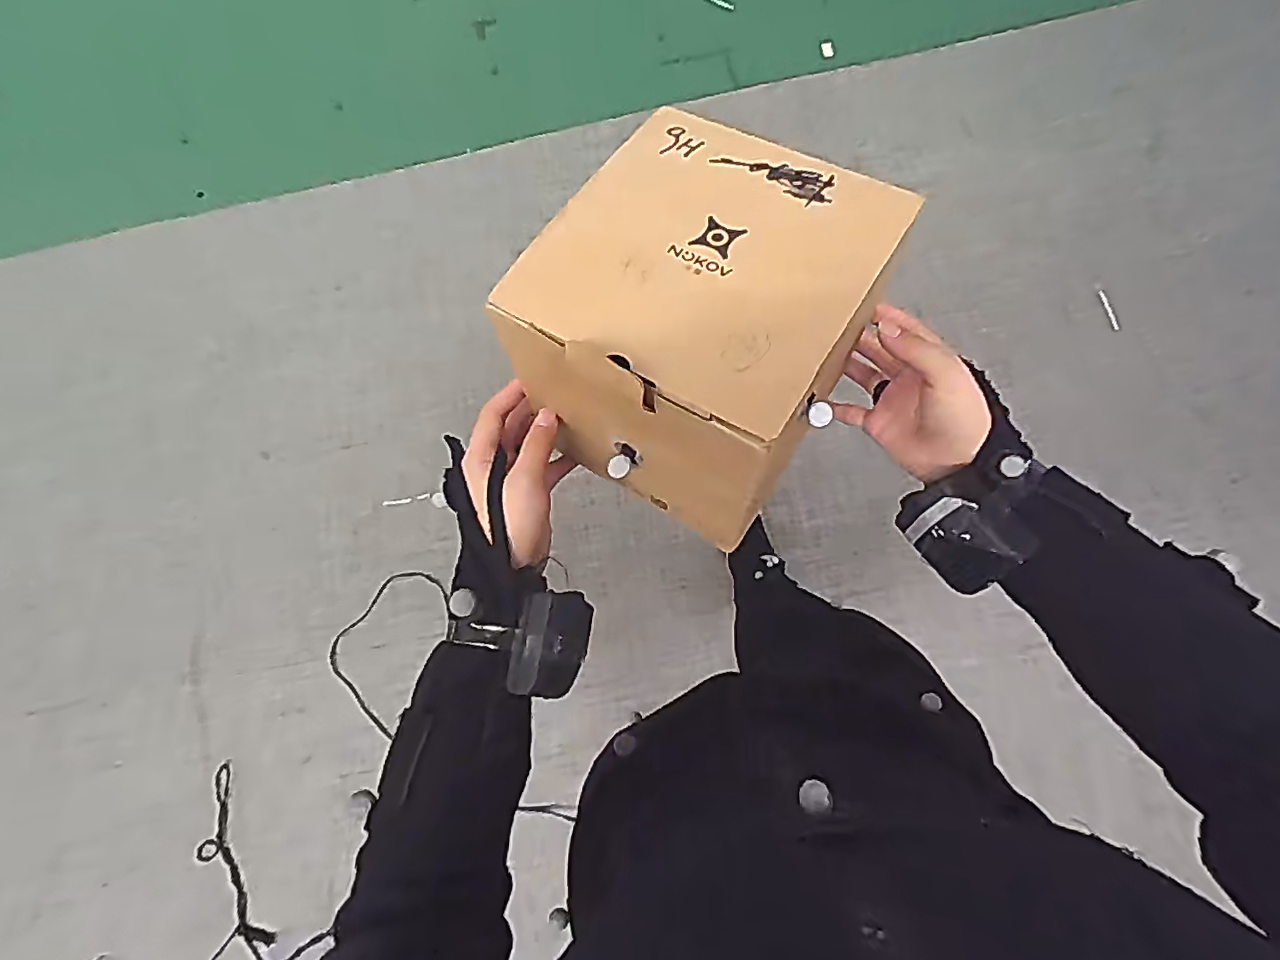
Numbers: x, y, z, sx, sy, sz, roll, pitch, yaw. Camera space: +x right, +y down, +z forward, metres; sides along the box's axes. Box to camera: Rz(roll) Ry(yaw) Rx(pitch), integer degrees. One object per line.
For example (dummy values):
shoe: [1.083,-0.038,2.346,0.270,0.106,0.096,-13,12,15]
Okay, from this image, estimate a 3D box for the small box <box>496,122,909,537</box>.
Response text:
small box: [0.041,-0.086,0.364,0.168,0.176,0.179,30,72,15]
